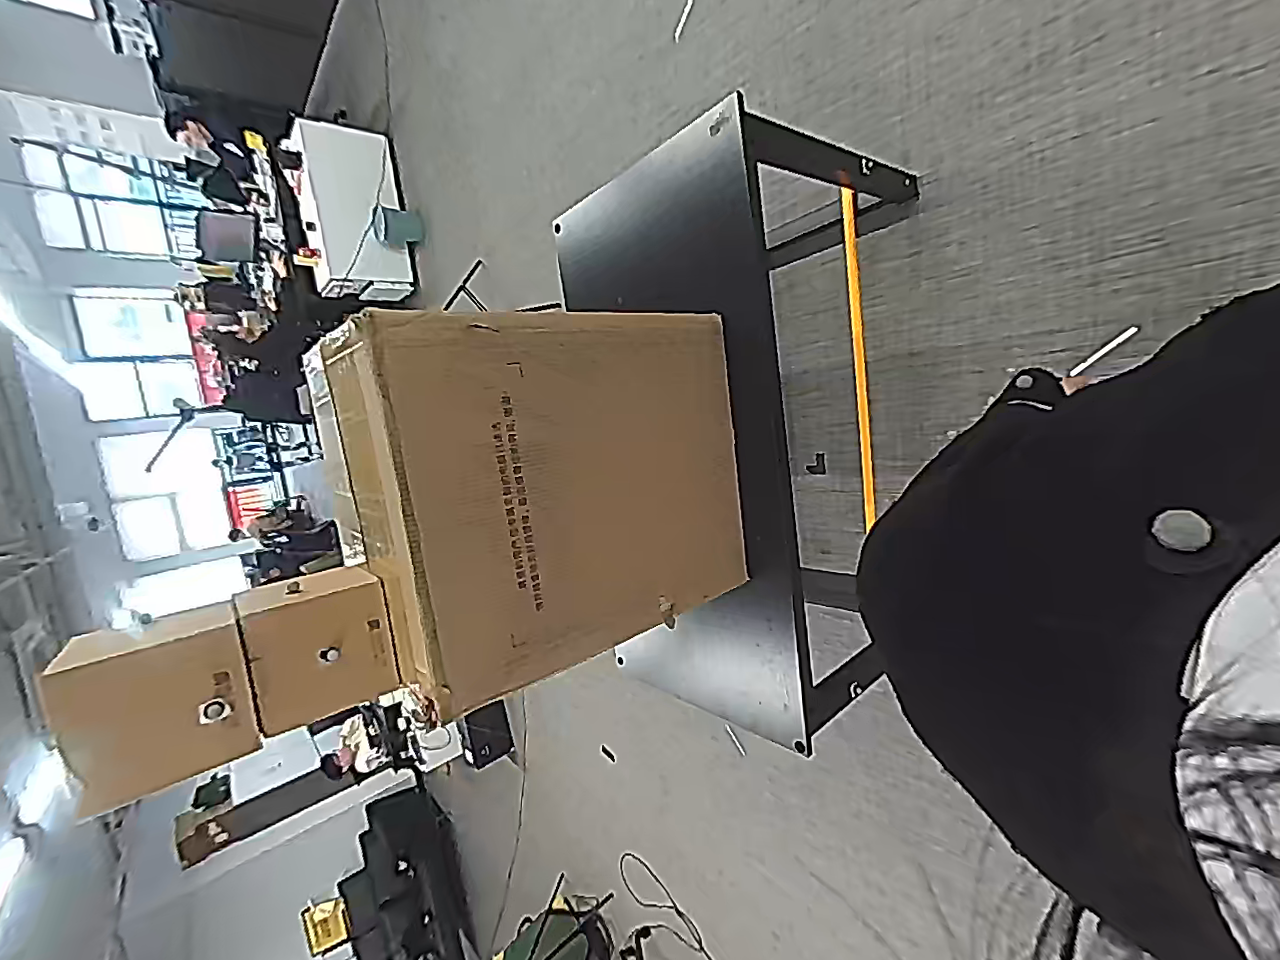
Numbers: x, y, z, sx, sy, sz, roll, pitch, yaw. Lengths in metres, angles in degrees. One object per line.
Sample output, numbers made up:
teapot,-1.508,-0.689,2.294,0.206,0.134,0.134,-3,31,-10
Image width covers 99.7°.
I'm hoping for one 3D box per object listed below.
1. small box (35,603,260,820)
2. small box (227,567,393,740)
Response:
small box,-0.587,0.262,0.668,0.179,0.176,0.168,-2,99,51
small box,-0.470,0.233,0.779,0.179,0.176,0.168,0,99,51
